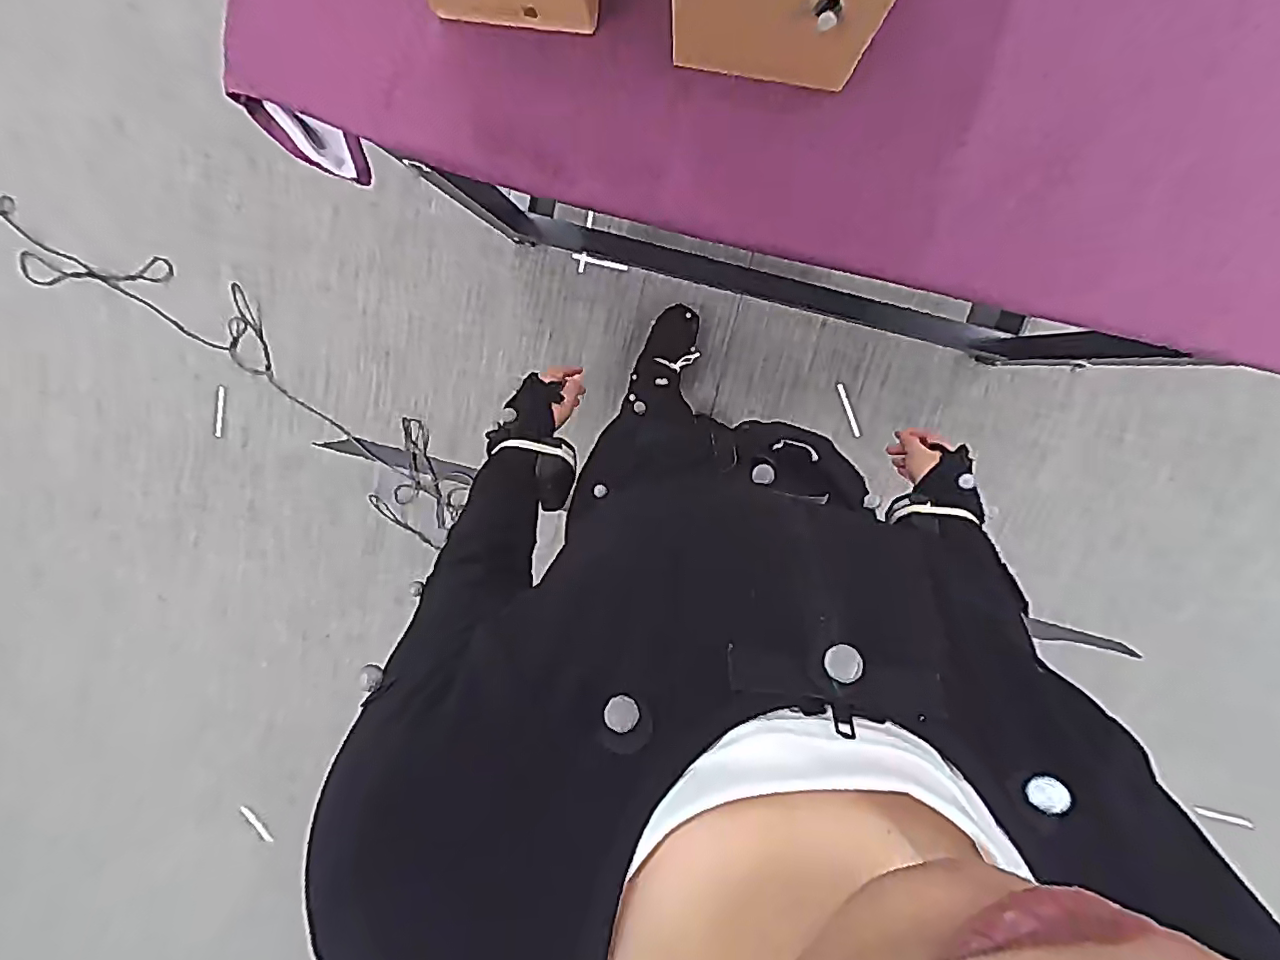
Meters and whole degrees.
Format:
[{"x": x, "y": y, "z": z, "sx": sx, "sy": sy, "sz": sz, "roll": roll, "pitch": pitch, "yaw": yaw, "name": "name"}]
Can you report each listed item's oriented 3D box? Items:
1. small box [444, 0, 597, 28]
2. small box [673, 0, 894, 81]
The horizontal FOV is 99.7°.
[{"x": -0.122, "y": -0.532, "z": 0.458, "sx": 0.168, "sy": 0.176, "sz": 0.179, "roll": 8, "pitch": 102, "yaw": 3, "name": "small box"}, {"x": 0.127, "y": -0.471, "z": 0.450, "sx": 0.179, "sy": 0.176, "sz": 0.168, "roll": 10, "pitch": 102, "yaw": 2, "name": "small box"}]
